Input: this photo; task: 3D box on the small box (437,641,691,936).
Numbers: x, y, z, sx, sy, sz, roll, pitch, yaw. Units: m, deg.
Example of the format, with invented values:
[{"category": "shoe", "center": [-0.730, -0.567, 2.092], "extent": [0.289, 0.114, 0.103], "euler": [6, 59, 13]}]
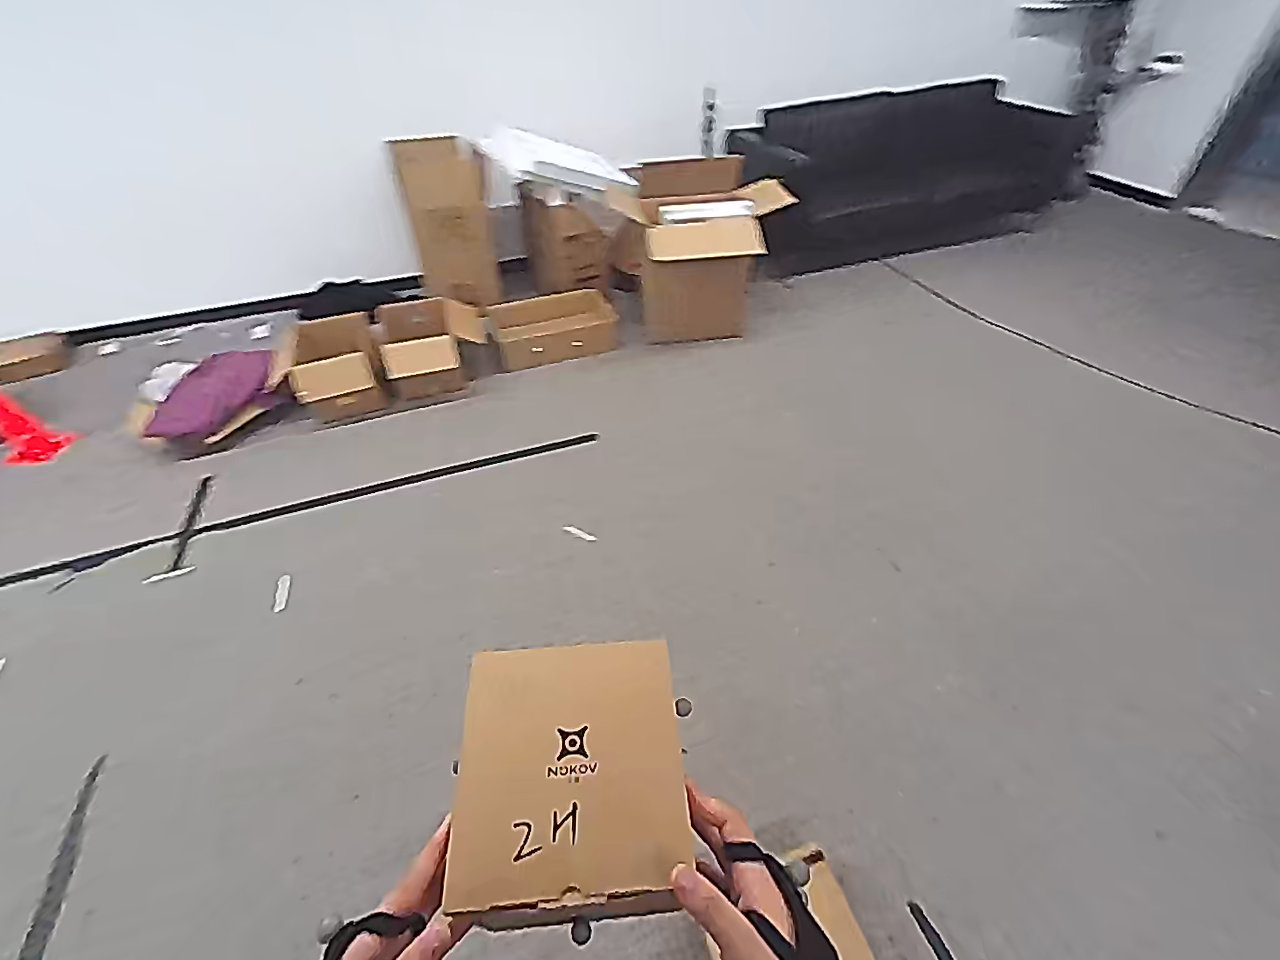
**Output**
[{"category": "small box", "center": [-0.057, 0.261, 0.460], "extent": [0.168, 0.176, 0.179], "euler": [-4, 48, -4]}]
